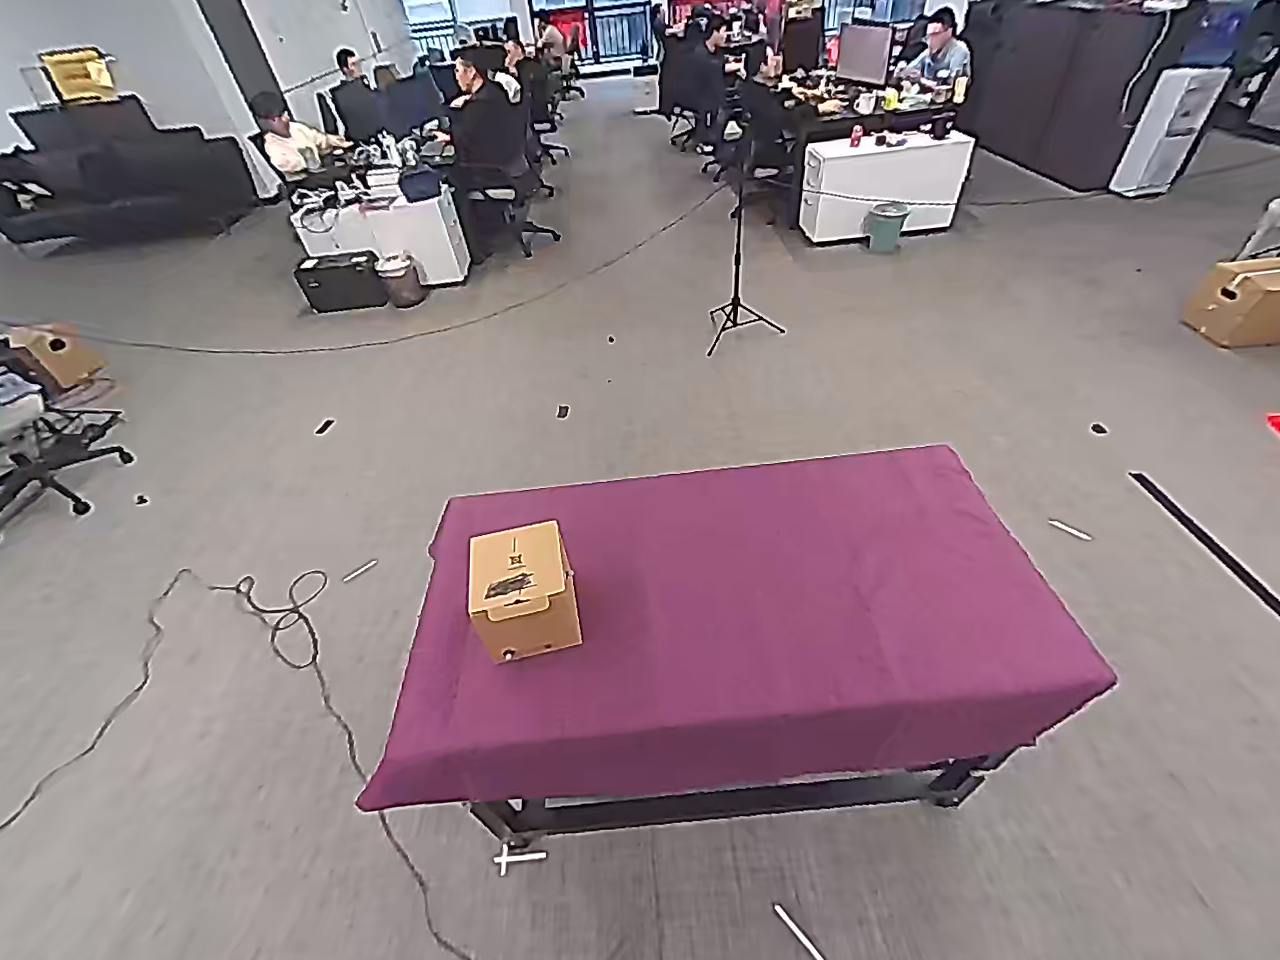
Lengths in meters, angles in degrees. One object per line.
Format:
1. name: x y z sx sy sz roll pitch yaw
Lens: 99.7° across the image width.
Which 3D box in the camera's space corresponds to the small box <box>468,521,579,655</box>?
1. small box: -0.215 0.208 1.015 0.168 0.176 0.179 -11 43 -5
